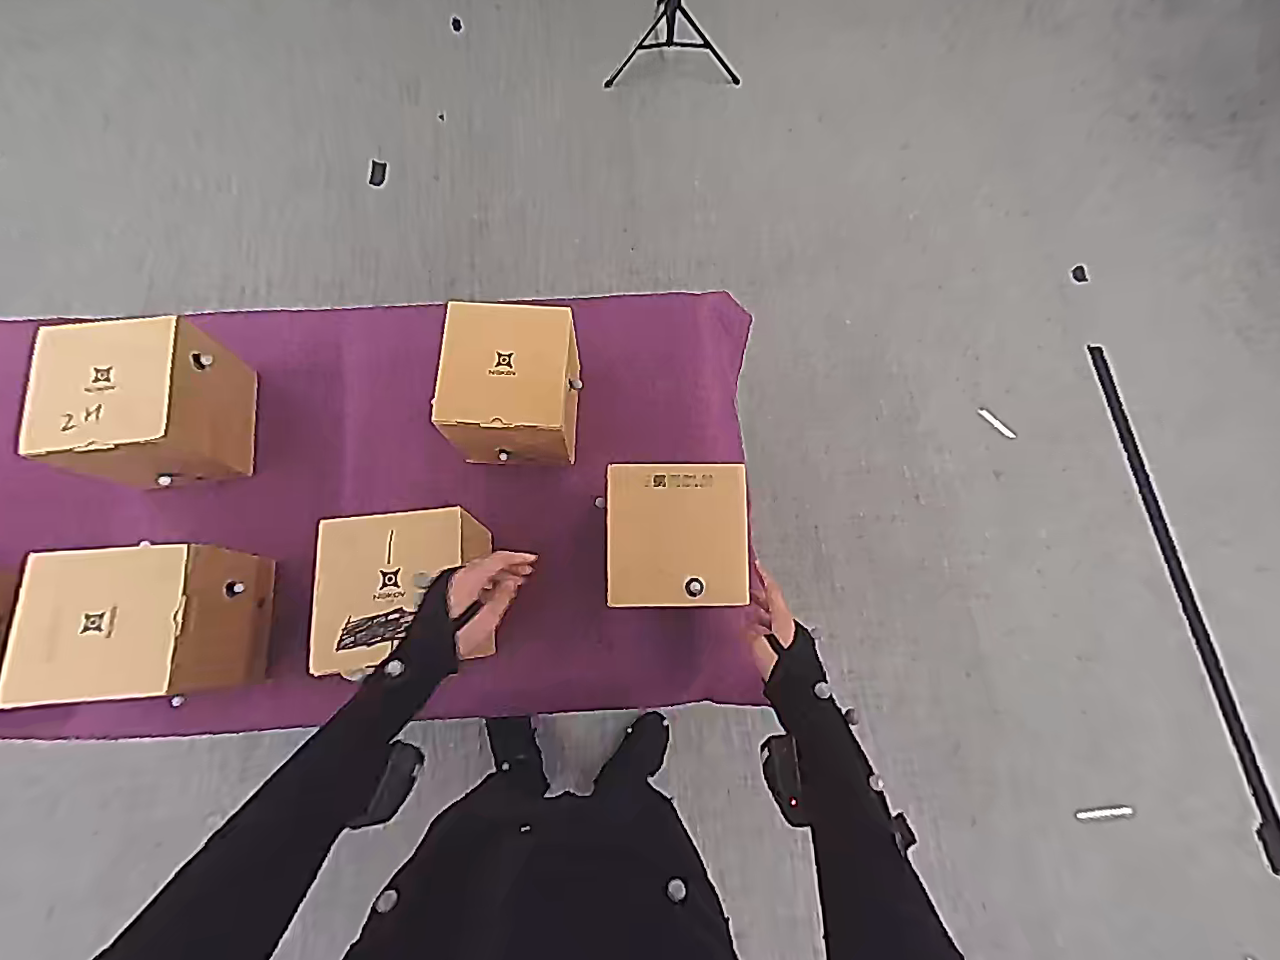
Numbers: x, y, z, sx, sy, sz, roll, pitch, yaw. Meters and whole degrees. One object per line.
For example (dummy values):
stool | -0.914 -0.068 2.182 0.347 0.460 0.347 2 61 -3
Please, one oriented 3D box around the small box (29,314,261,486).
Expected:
small box | -0.663 -0.104 0.752 0.168 0.176 0.179 -7 74 -5

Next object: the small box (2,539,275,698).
small box | -0.593 0.171 0.672 0.179 0.176 0.168 -3 73 -4

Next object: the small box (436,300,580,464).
small box | -0.178 -0.134 0.785 0.168 0.176 0.179 3 75 -2

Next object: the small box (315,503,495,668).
small box | -0.286 0.139 0.695 0.168 0.176 0.179 -5 73 -4

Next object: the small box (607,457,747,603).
small box | 0.041 0.066 0.713 0.168 0.179 0.176 0 84 -2
